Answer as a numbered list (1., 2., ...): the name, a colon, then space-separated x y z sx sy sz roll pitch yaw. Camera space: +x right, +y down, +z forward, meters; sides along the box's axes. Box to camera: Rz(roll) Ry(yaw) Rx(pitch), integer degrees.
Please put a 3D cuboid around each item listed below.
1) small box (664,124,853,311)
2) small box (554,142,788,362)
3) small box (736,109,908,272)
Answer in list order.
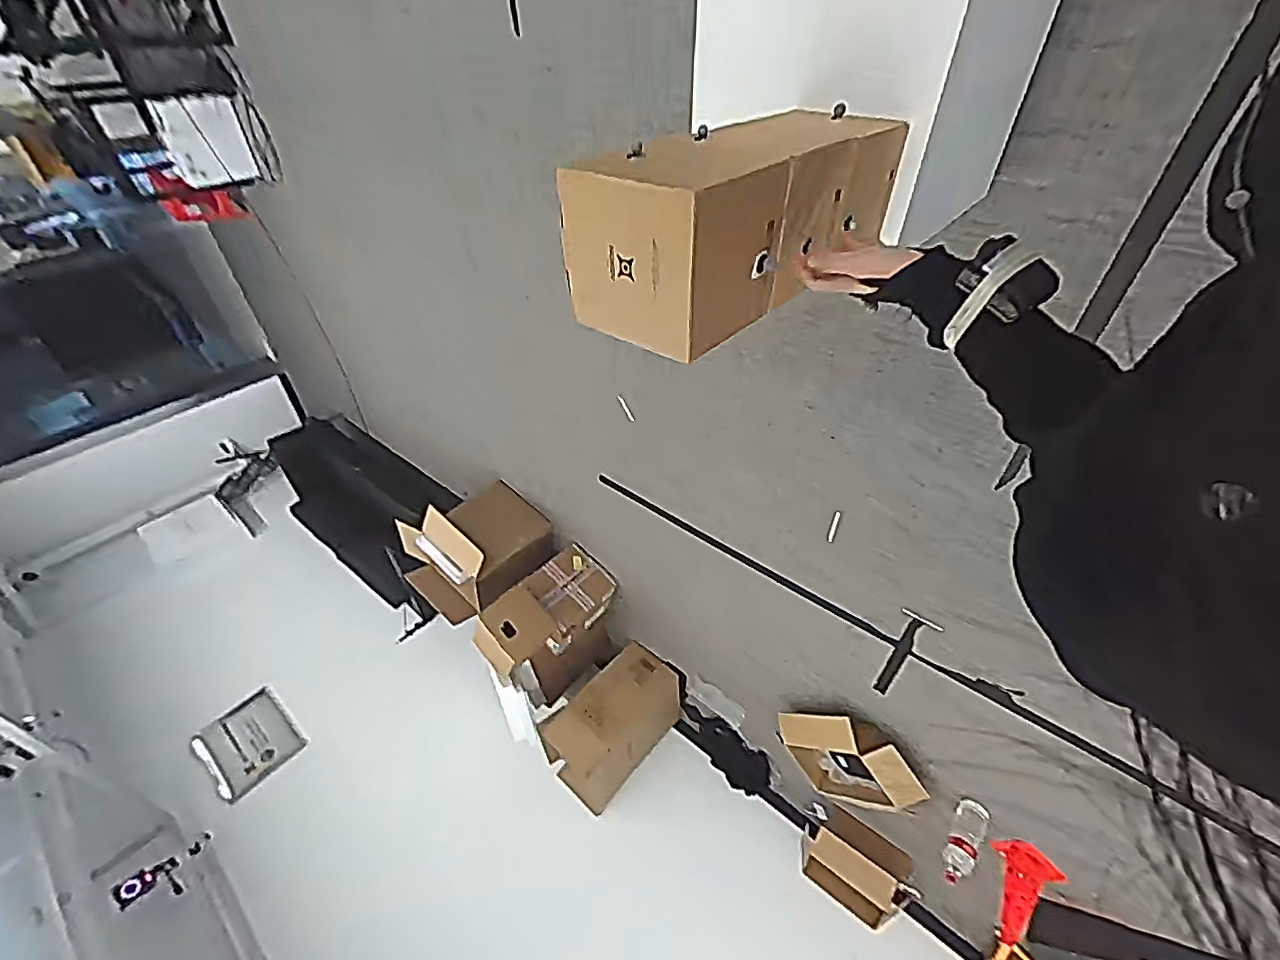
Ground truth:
1. small box: 0.141 -0.337 0.680 0.179 0.176 0.168 29 139 31
2. small box: 0.034 -0.257 0.589 0.179 0.176 0.168 28 140 30
3. small box: 0.246 -0.420 0.774 0.179 0.176 0.168 30 140 30
